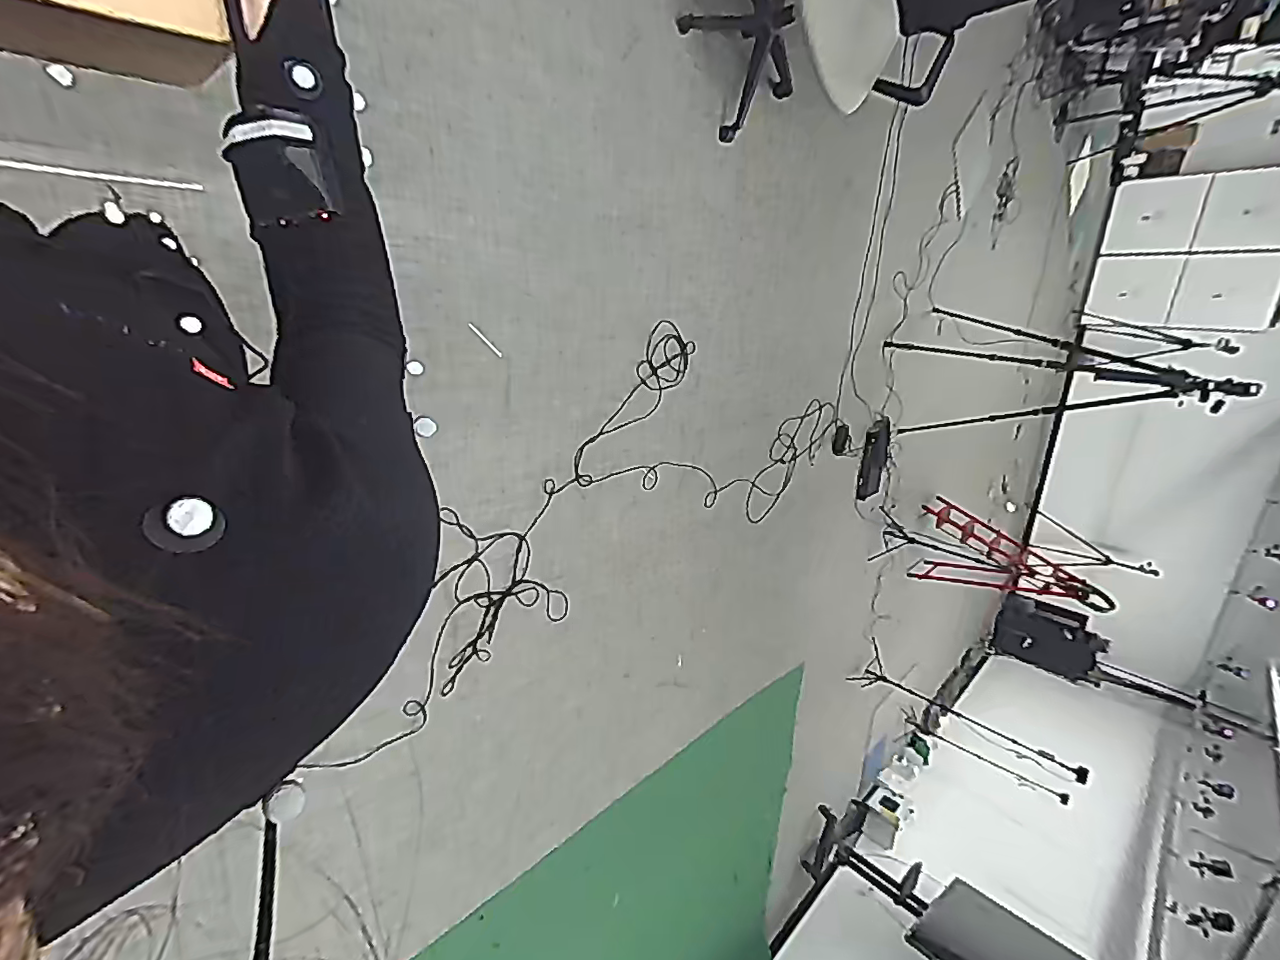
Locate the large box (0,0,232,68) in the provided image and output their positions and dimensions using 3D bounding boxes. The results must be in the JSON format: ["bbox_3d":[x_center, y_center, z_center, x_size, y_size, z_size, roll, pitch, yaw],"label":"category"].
[{"bbox_3d":[-0.506,-0.457,0.283,0.408,0.320,0.320,-14,122,-37],"label":"large box"}]
